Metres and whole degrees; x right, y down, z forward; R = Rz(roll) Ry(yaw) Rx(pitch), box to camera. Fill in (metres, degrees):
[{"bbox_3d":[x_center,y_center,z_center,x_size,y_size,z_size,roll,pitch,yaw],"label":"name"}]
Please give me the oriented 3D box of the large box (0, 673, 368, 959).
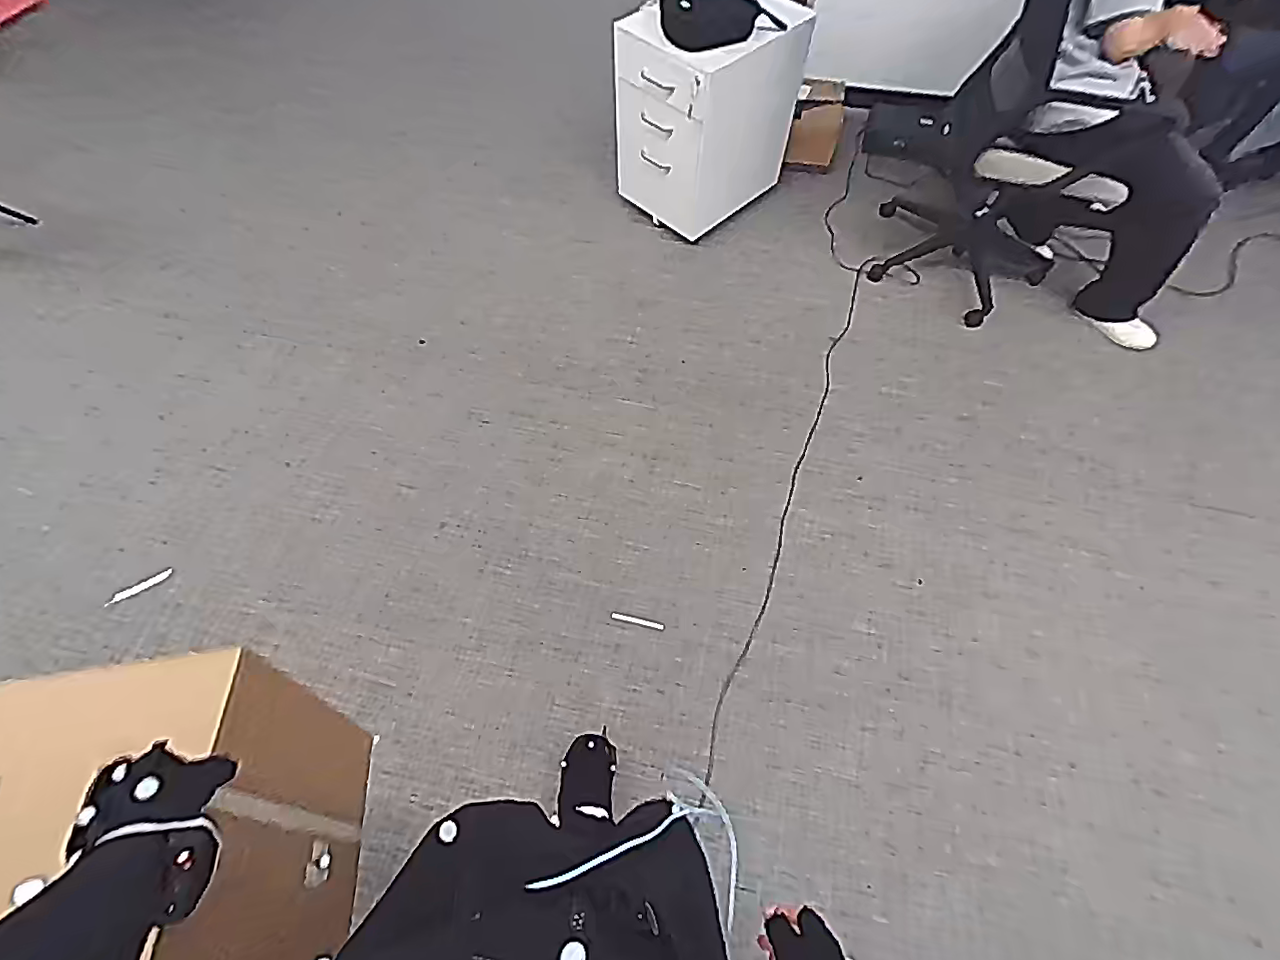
[{"bbox_3d":[-0.595,0.488,0.685,0.320,0.408,0.320,-7,51,-7],"label":"large box"}]
